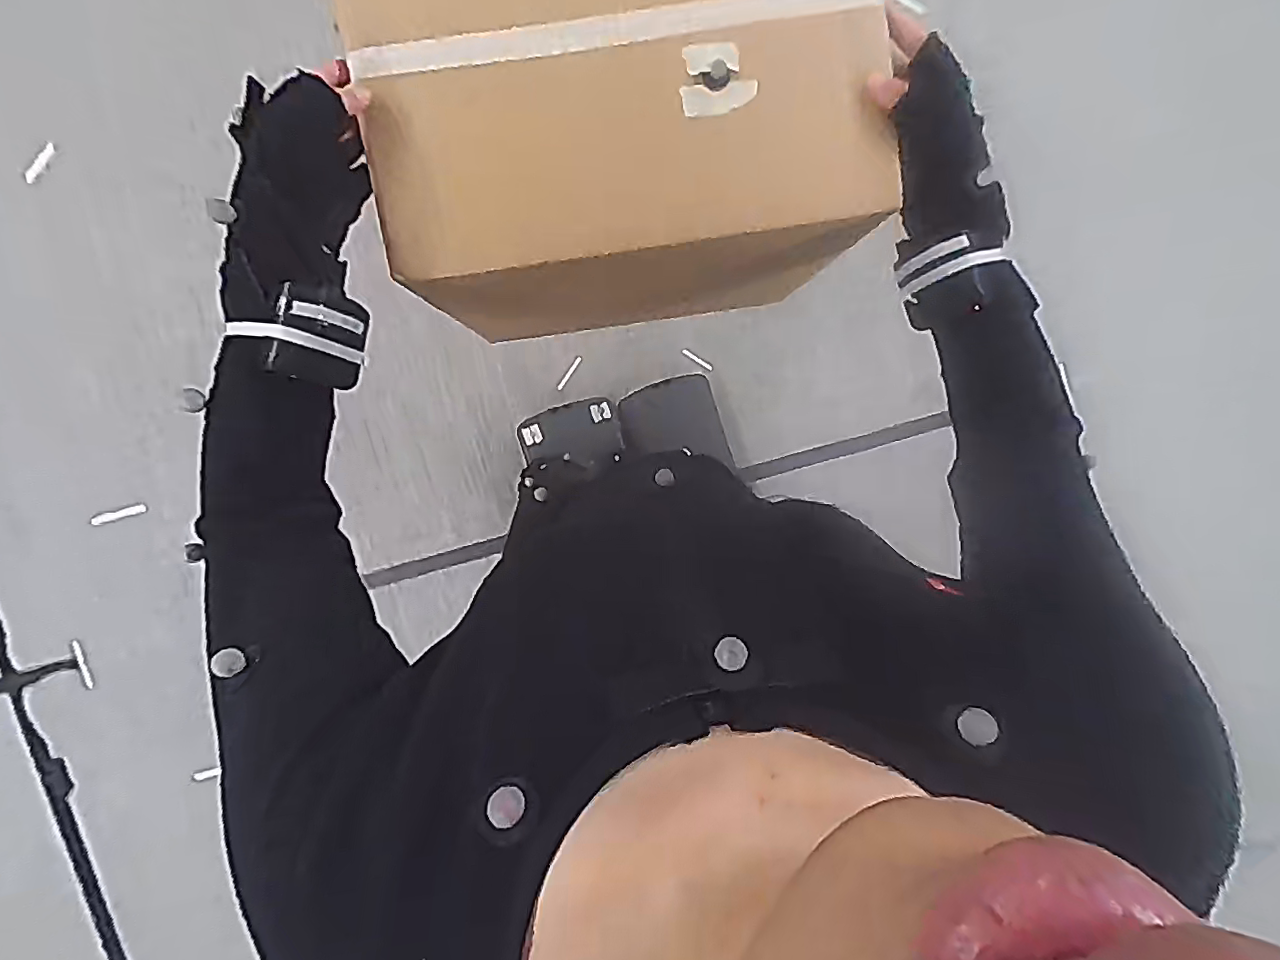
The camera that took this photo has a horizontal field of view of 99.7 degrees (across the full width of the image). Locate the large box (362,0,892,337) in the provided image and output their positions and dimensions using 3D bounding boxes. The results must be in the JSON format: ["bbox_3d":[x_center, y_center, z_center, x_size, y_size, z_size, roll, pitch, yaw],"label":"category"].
[{"bbox_3d":[-0.019,-0.359,0.570,0.408,0.320,0.320,-9,96,-2],"label":"large box"}]
